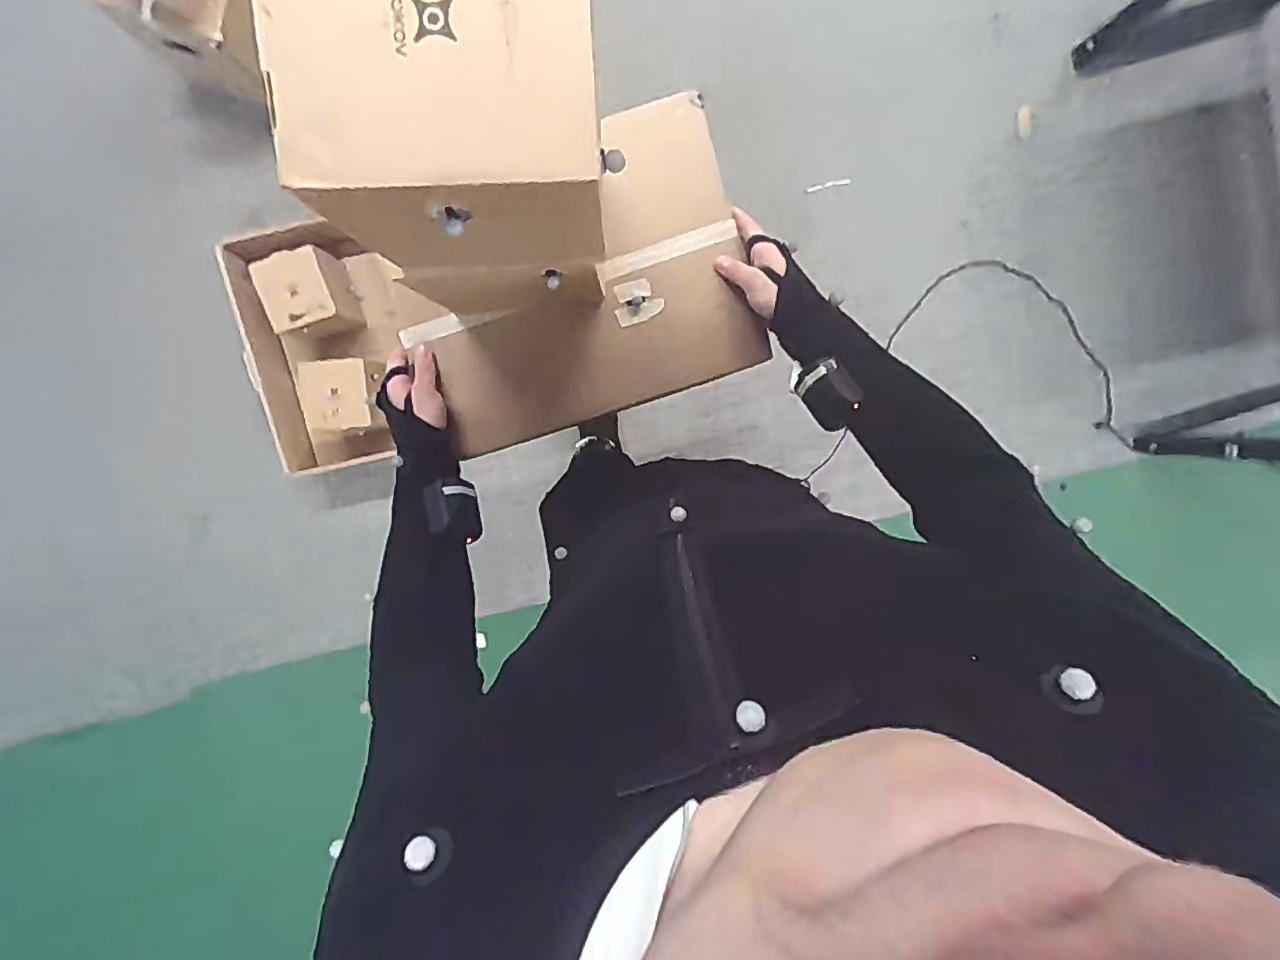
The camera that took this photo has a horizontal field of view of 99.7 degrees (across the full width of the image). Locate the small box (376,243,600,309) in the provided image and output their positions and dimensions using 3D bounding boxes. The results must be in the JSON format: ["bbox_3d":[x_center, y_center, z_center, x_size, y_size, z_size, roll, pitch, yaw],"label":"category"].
[{"bbox_3d":[-0.137,-0.268,0.518,0.179,0.176,0.168,-6,97,-1],"label":"small box"}]

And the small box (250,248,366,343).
[{"bbox_3d":[-0.855,-0.473,1.410,0.168,0.176,0.179,-18,97,1],"label":"small box"}]

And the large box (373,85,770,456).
[{"bbox_3d":[-0.084,-0.250,0.766,0.408,0.320,0.320,-18,99,1],"label":"large box"}]

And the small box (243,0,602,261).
[{"bbox_3d":[-0.117,-0.250,0.356,0.179,0.176,0.168,-1,97,-2],"label":"small box"}]
